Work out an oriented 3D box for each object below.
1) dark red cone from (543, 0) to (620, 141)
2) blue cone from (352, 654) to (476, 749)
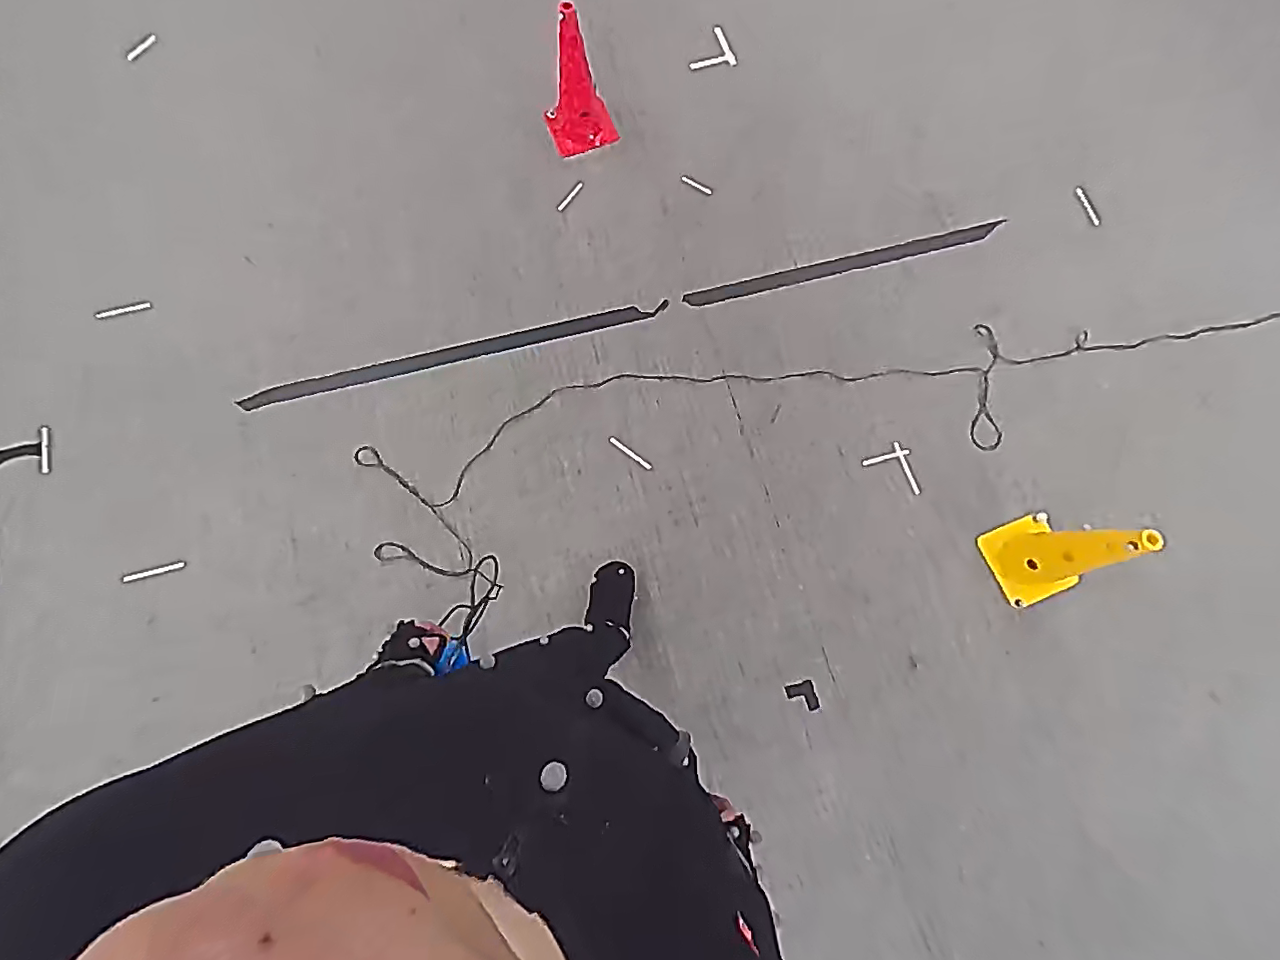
[{"bbox_3d":[-0.182,-1.196,1.536,0.202,0.394,0.201,-22,78,-6],"label":"dark red cone"},{"bbox_3d":[-0.500,0.490,1.140,0.193,0.380,0.192,-14,77,-4],"label":"blue cone"}]
